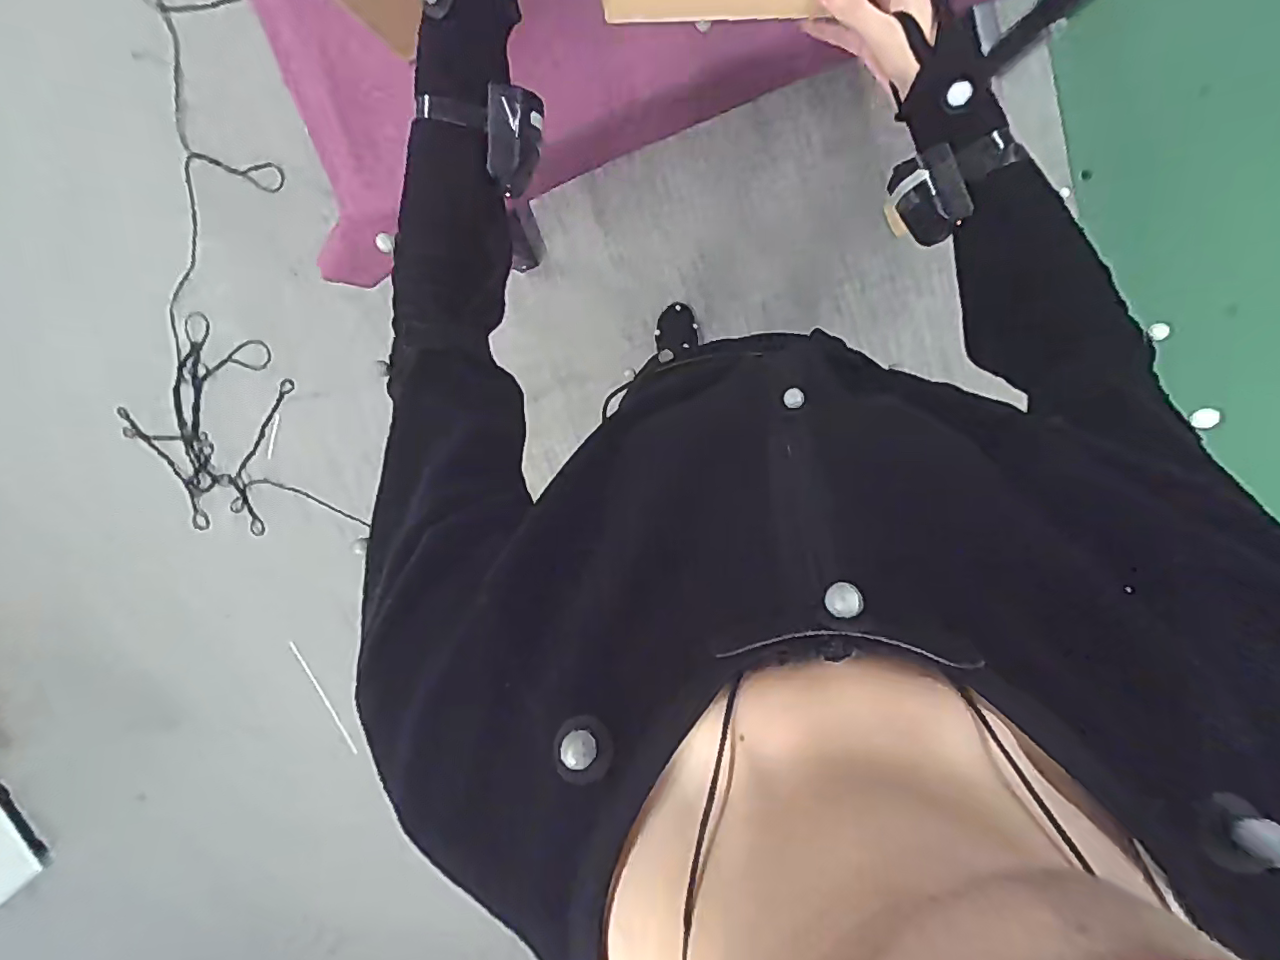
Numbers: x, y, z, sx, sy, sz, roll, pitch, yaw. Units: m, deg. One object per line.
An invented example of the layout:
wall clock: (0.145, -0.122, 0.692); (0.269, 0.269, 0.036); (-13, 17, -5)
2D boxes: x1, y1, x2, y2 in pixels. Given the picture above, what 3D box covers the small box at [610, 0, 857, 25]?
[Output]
small box: (0.062, -0.437, 0.360); (0.179, 0.176, 0.168); (-3, 147, -3)
